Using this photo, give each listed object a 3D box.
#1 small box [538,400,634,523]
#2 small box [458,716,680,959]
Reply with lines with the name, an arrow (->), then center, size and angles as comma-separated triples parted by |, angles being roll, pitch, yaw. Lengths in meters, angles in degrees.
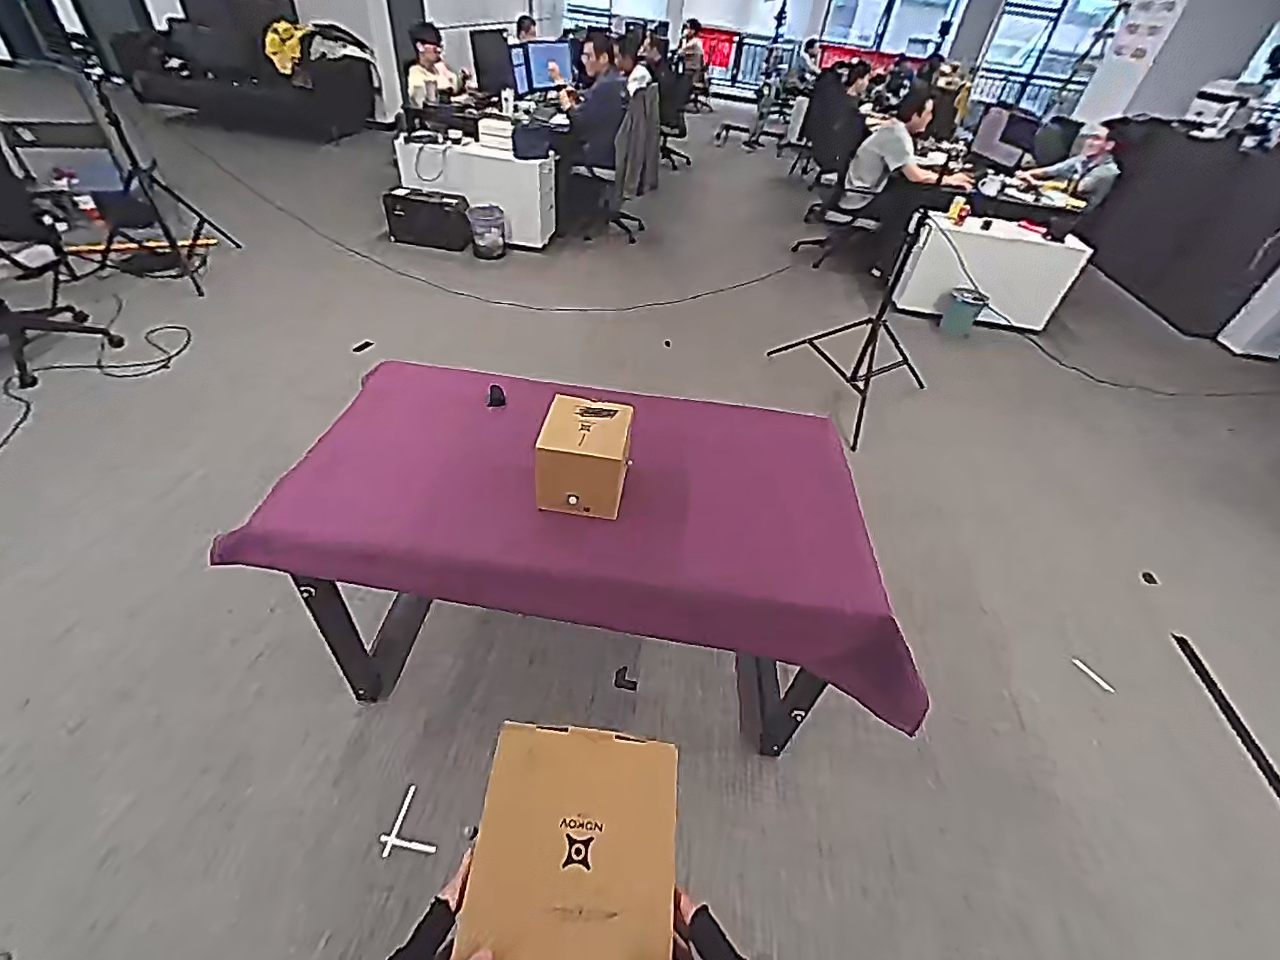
small box -> -0.111, -0.038, 1.120 | 0.168, 0.176, 0.179 | 8, 42, 1
small box -> -0.064, 0.342, 0.504 | 0.168, 0.176, 0.179 | 10, 51, -8
